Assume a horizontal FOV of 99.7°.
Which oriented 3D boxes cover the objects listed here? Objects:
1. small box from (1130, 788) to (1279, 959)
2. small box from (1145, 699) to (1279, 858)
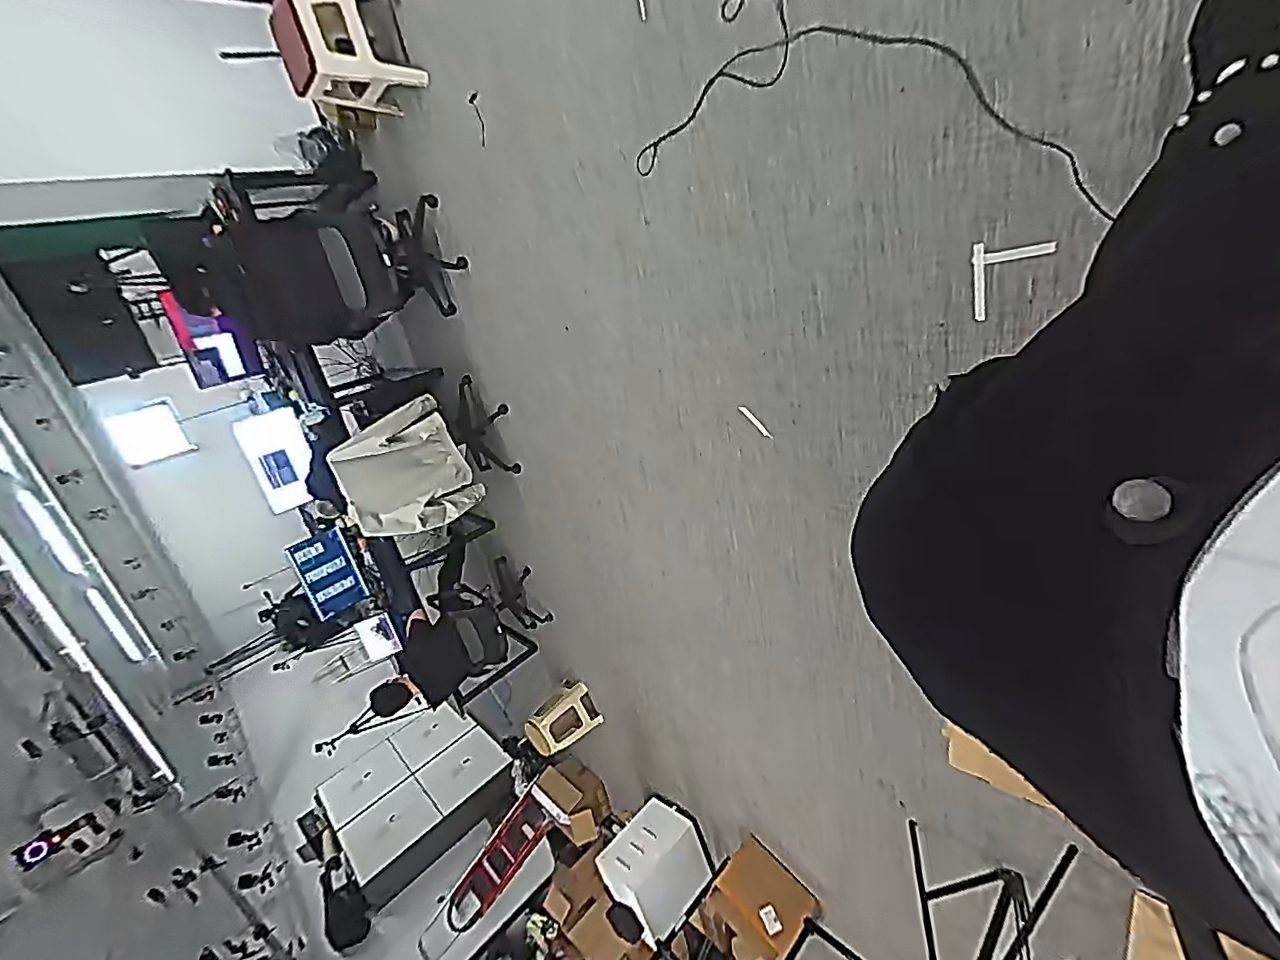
[{"bbox_3d":[0.664,0.489,0.593,0.168,0.176,0.179,9,119,48],"label":"small box"},{"bbox_3d":[0.780,0.424,0.689,0.168,0.176,0.179,11,121,47],"label":"small box"}]
